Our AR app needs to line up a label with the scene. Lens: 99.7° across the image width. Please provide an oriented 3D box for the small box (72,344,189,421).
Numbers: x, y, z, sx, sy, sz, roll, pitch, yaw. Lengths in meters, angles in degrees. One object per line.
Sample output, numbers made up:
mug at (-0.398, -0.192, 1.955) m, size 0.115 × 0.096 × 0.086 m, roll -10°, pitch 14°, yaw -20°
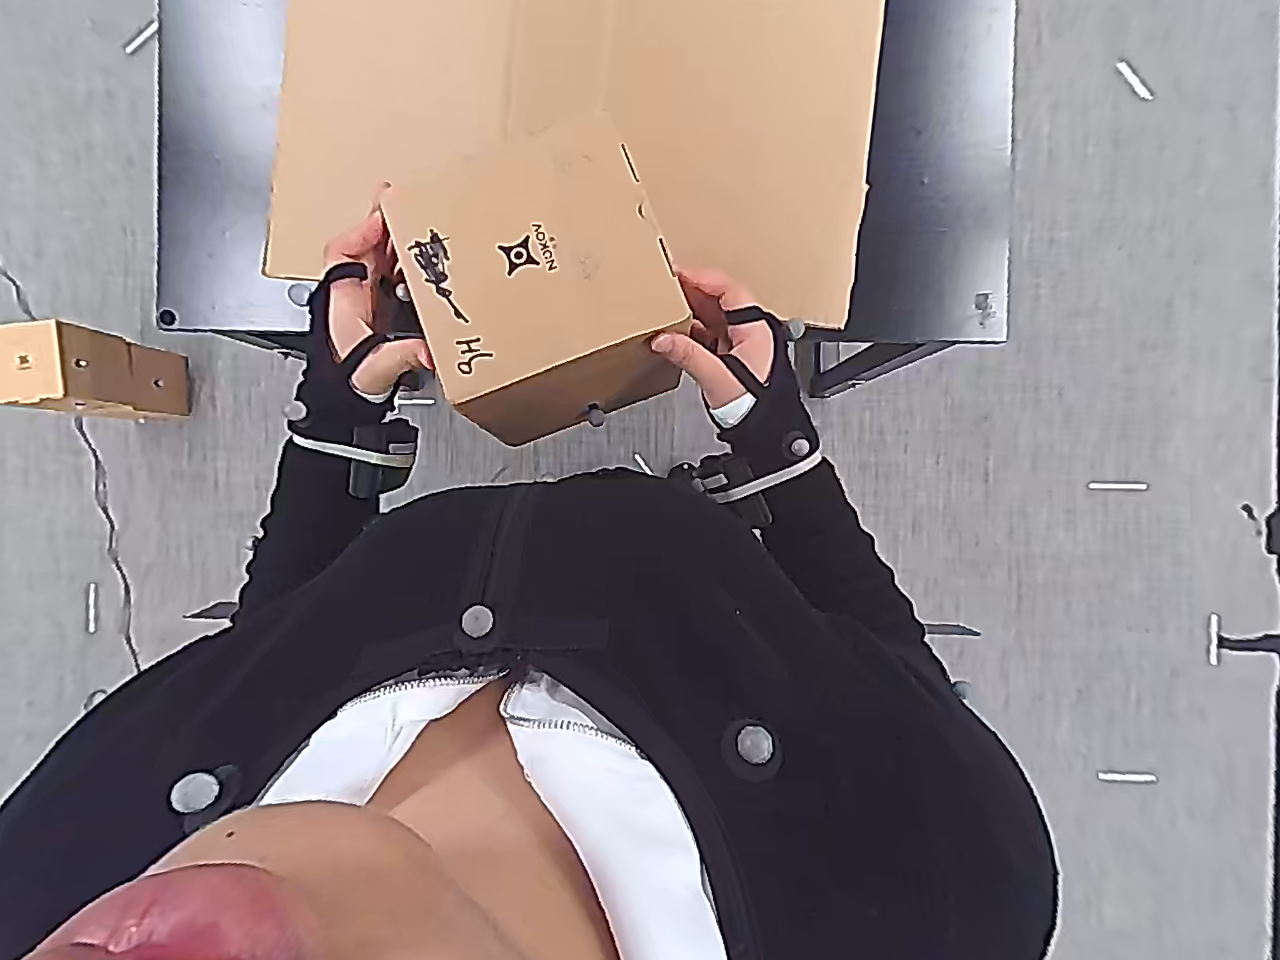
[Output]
small box at (-1.351, -0.254, 1.440) m, size 0.168 × 0.176 × 0.179 m, roll -3°, pitch 91°, yaw 1°

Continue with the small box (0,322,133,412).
small box at (-1.354, -0.259, 1.277) m, size 0.168 × 0.176 × 0.179 m, roll -6°, pitch 90°, yaw 0°
